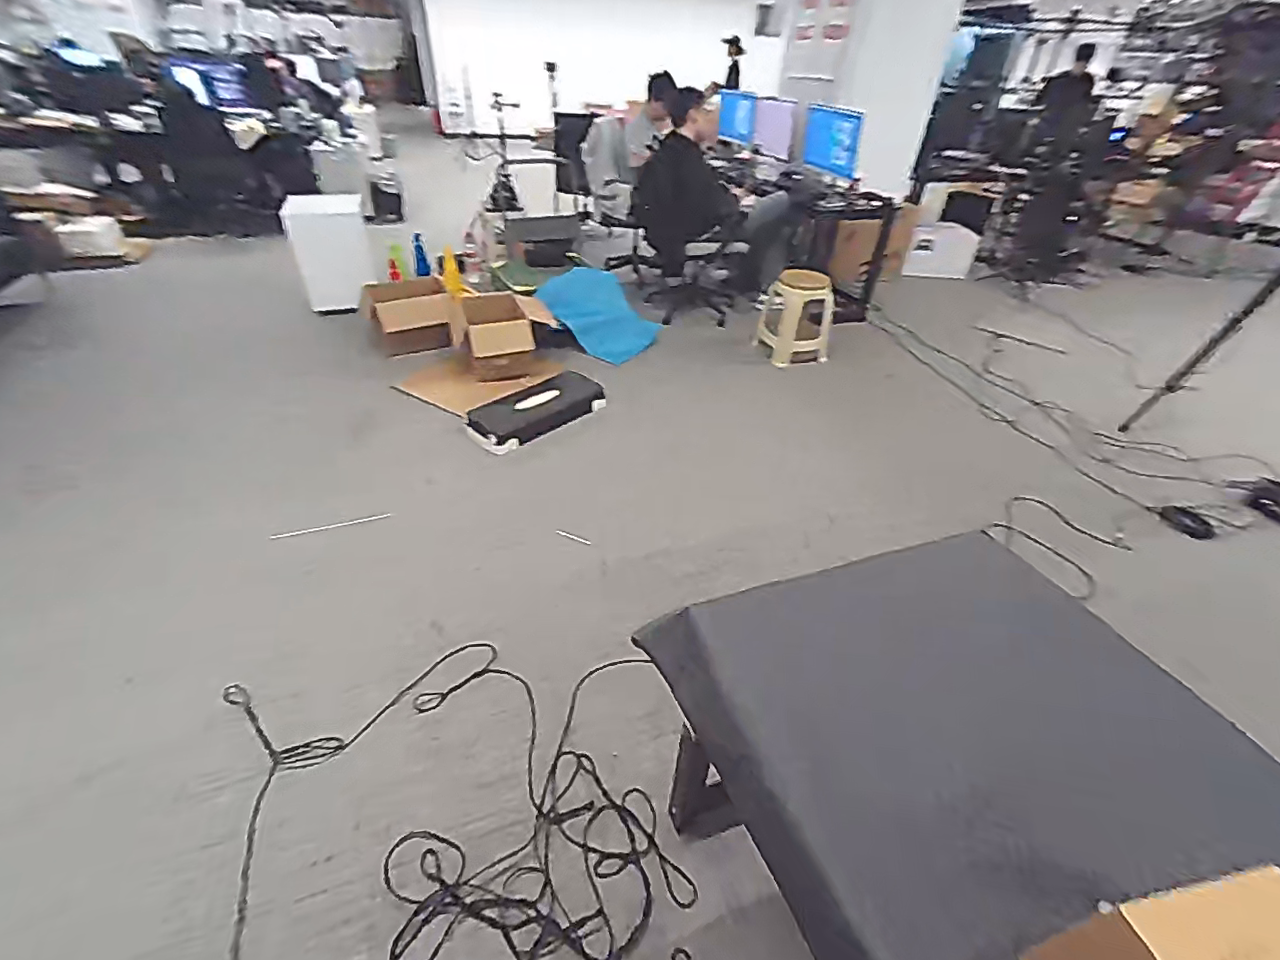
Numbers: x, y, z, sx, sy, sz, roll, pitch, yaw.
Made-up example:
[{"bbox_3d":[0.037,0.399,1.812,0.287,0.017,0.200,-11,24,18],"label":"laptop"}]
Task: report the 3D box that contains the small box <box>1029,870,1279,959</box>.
[{"bbox_3d":[0.465,0.446,0.419,0.168,0.176,0.179,-4,38,-11],"label":"small box"}]
